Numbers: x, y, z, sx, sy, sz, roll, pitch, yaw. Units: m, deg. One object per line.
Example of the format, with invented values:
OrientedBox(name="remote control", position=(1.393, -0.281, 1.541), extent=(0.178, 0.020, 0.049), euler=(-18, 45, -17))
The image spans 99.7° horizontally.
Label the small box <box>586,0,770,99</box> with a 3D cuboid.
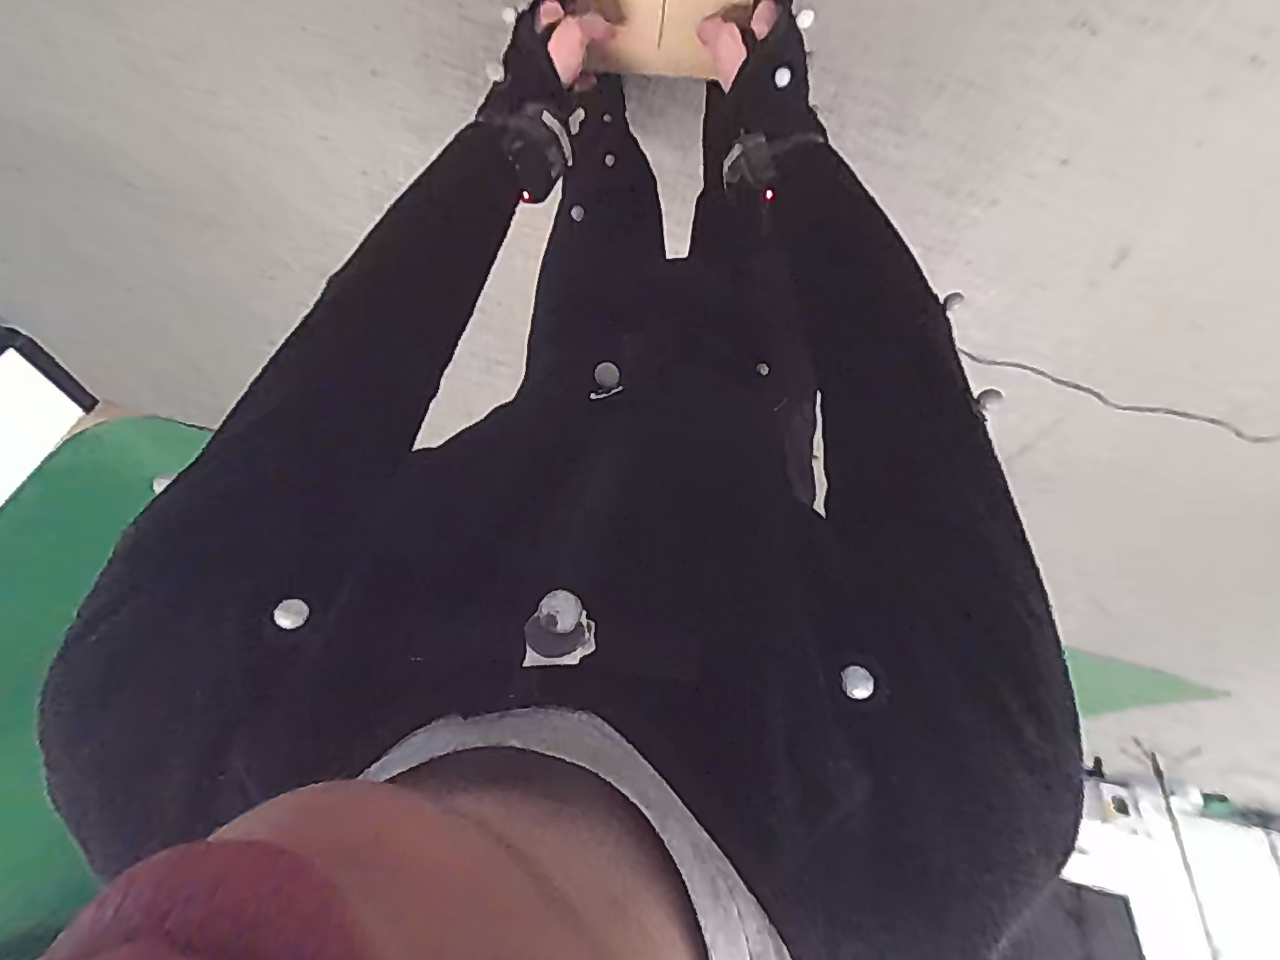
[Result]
OrientedBox(name="small box", position=(0.045, -0.491, 0.520), extent=(0.168, 0.176, 0.179), euler=(8, 135, 6))
